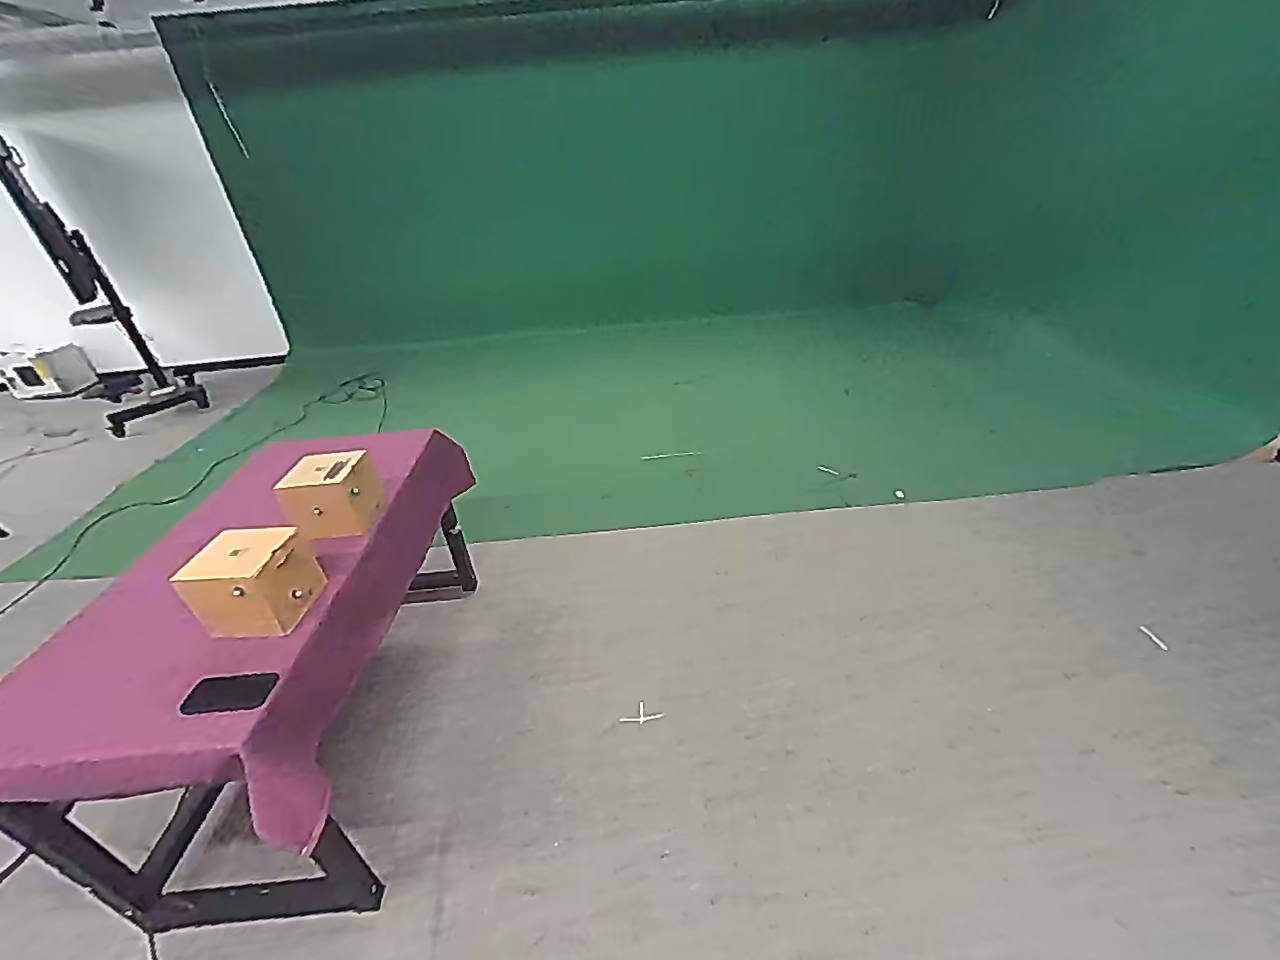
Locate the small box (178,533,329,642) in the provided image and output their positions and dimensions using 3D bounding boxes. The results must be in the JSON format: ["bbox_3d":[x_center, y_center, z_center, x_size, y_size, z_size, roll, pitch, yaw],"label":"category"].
[{"bbox_3d":[-0.825,0.235,1.174,0.179,0.176,0.168,-3,32,4],"label":"small box"}]
